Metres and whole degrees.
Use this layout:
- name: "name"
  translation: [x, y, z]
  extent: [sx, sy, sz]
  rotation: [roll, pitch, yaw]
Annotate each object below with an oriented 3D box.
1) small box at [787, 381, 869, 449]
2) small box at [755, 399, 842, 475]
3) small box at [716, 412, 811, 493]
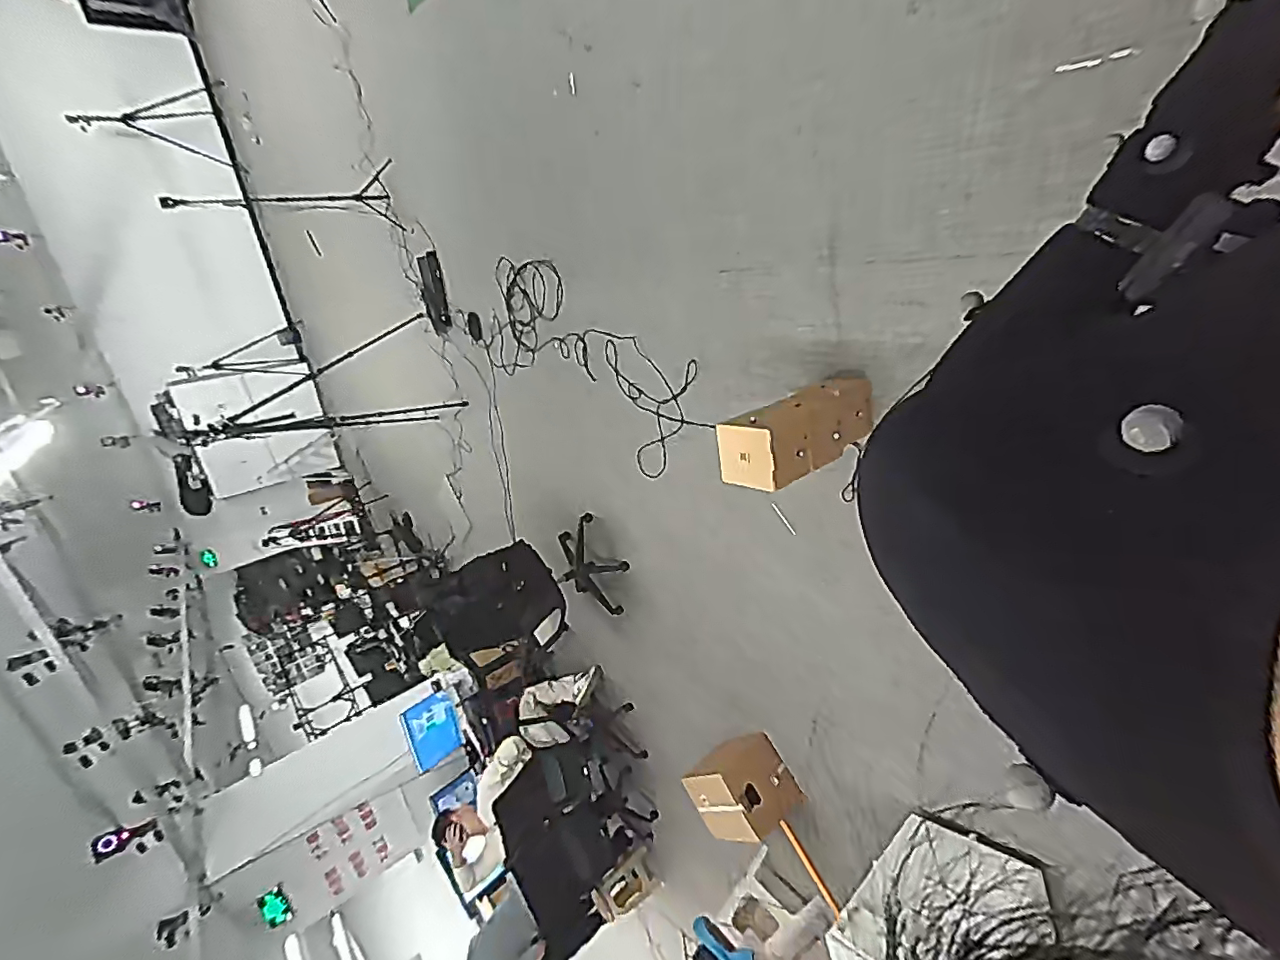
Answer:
- name: "small box"
  translation: [0.568, -0.197, 1.618]
  extent: [0.179, 0.176, 0.168]
  rotation: [10, 116, 51]
- name: "small box"
  translation: [0.449, -0.127, 1.528]
  extent: [0.179, 0.176, 0.168]
  rotation: [14, 120, 48]
- name: "small box"
  translation: [0.328, -0.080, 1.430]
  extent: [0.179, 0.176, 0.168]
  rotation: [12, 119, 49]
